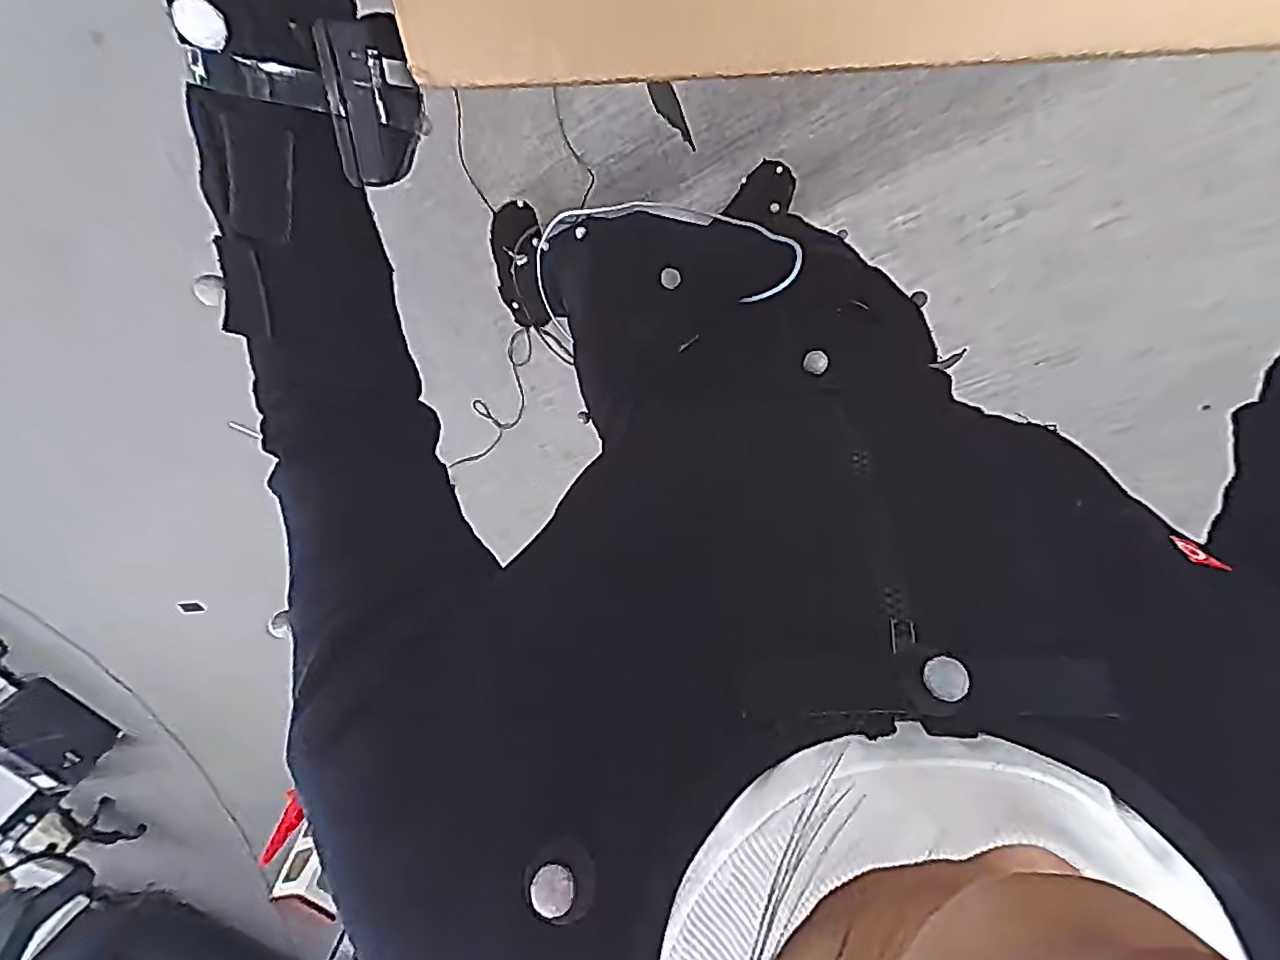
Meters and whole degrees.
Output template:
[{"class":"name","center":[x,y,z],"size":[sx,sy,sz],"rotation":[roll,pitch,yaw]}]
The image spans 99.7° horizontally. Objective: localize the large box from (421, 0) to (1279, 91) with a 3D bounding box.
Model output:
[{"class":"large box","center":[0.103,-0.392,0.246],"size":[0.408,0.320,0.320],"rotation":[-1,130,4]}]
